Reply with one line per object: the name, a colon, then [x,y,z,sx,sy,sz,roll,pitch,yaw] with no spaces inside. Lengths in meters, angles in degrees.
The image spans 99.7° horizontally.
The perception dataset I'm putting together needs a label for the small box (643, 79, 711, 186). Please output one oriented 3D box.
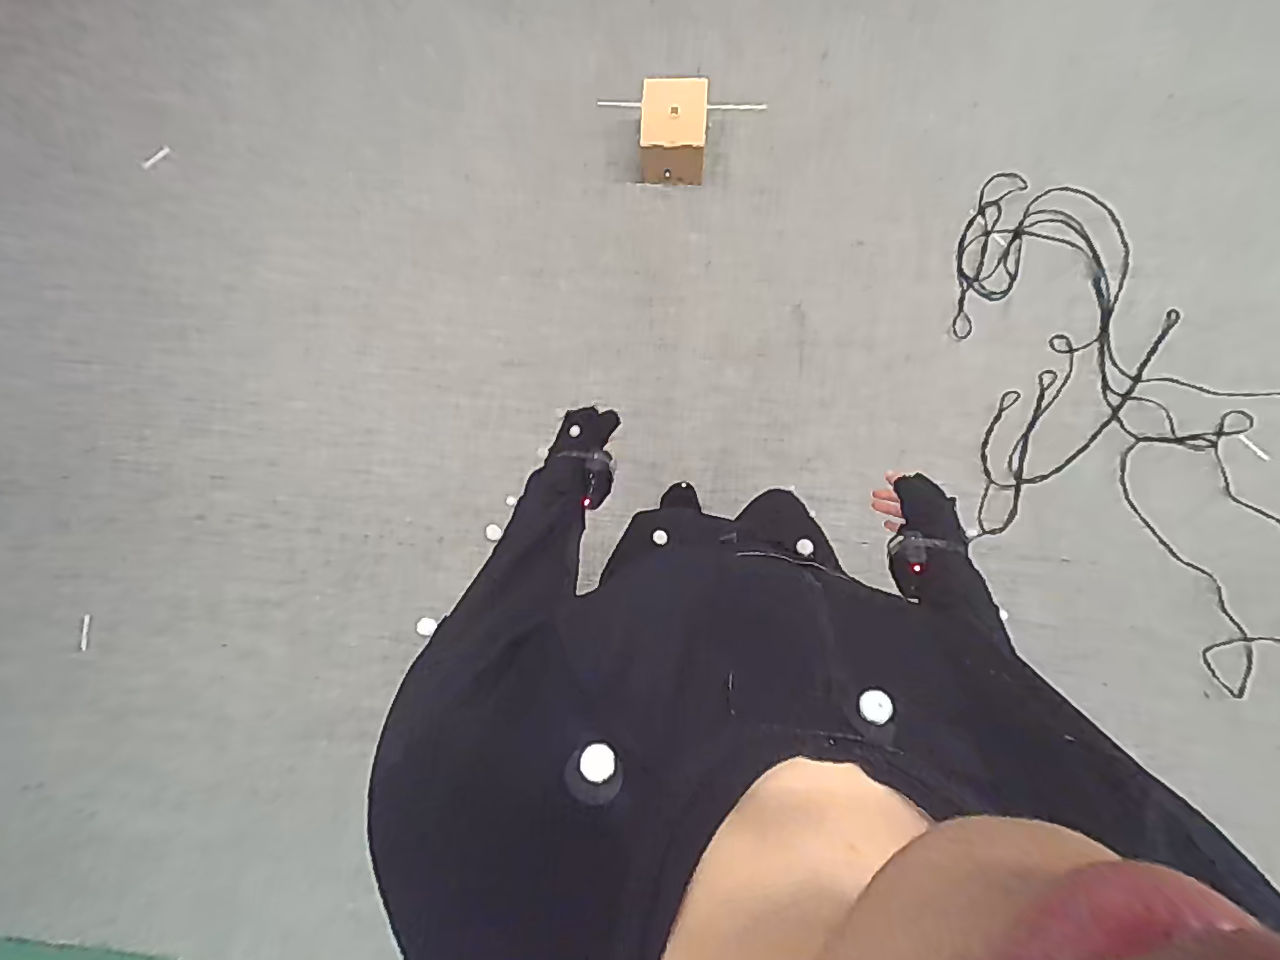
small box: [0.097,-0.916,1.434,0.168,0.176,0.179,3,89,4]
